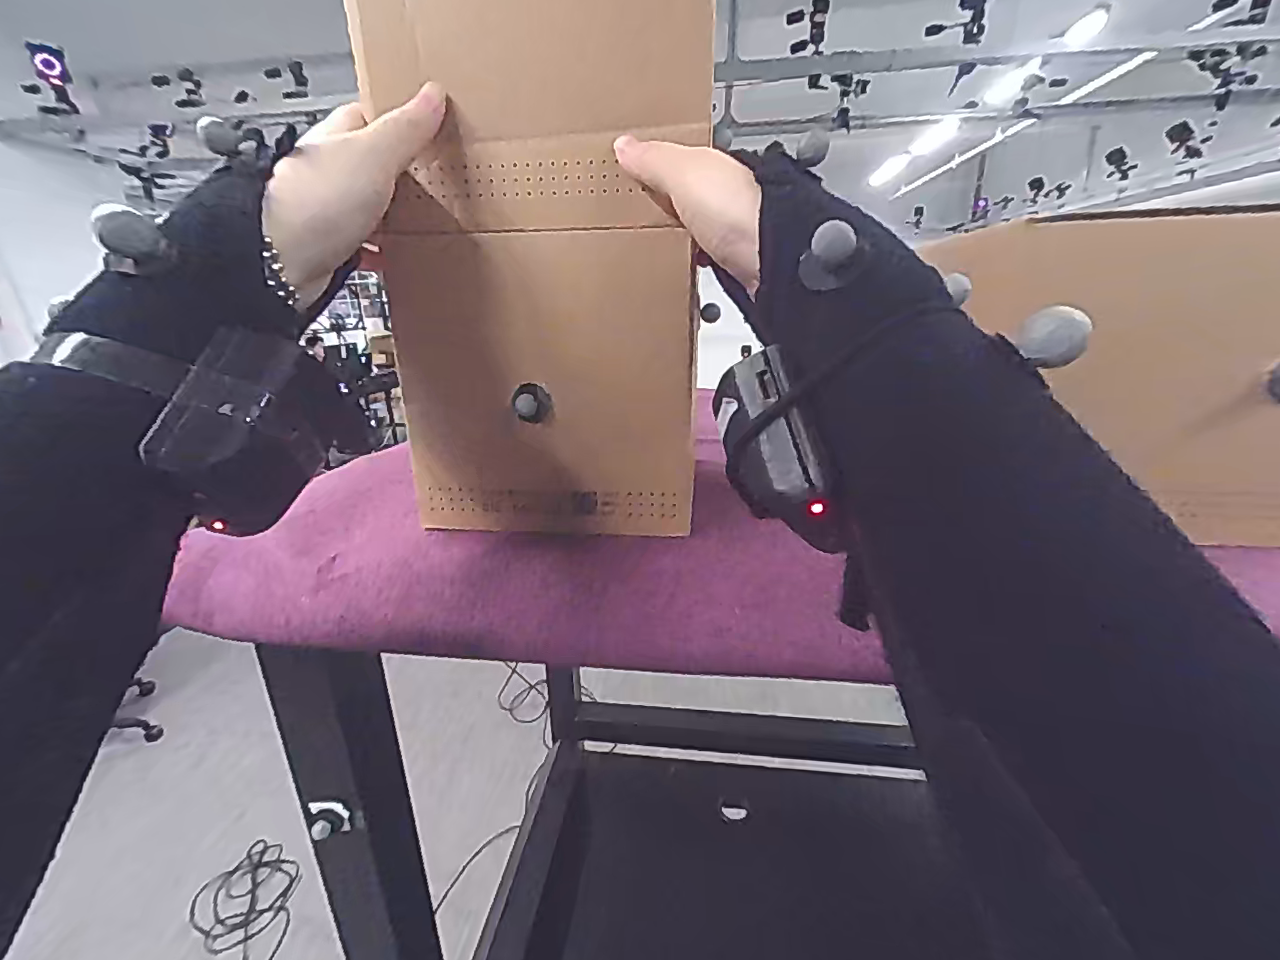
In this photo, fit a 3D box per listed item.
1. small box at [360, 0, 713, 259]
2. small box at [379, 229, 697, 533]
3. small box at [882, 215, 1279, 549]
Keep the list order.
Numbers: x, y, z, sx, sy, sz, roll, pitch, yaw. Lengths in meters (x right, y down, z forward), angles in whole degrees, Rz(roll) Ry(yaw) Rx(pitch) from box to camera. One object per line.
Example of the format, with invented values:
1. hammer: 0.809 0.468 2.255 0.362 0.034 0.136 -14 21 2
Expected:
1. small box: -0.046 -0.225 0.325 0.179 0.176 0.168 1 20 5
2. small box: -0.045 -0.071 0.376 0.168 0.176 0.179 2 19 6
3. small box: 0.275 -0.064 0.345 0.179 0.176 0.168 0 18 7
